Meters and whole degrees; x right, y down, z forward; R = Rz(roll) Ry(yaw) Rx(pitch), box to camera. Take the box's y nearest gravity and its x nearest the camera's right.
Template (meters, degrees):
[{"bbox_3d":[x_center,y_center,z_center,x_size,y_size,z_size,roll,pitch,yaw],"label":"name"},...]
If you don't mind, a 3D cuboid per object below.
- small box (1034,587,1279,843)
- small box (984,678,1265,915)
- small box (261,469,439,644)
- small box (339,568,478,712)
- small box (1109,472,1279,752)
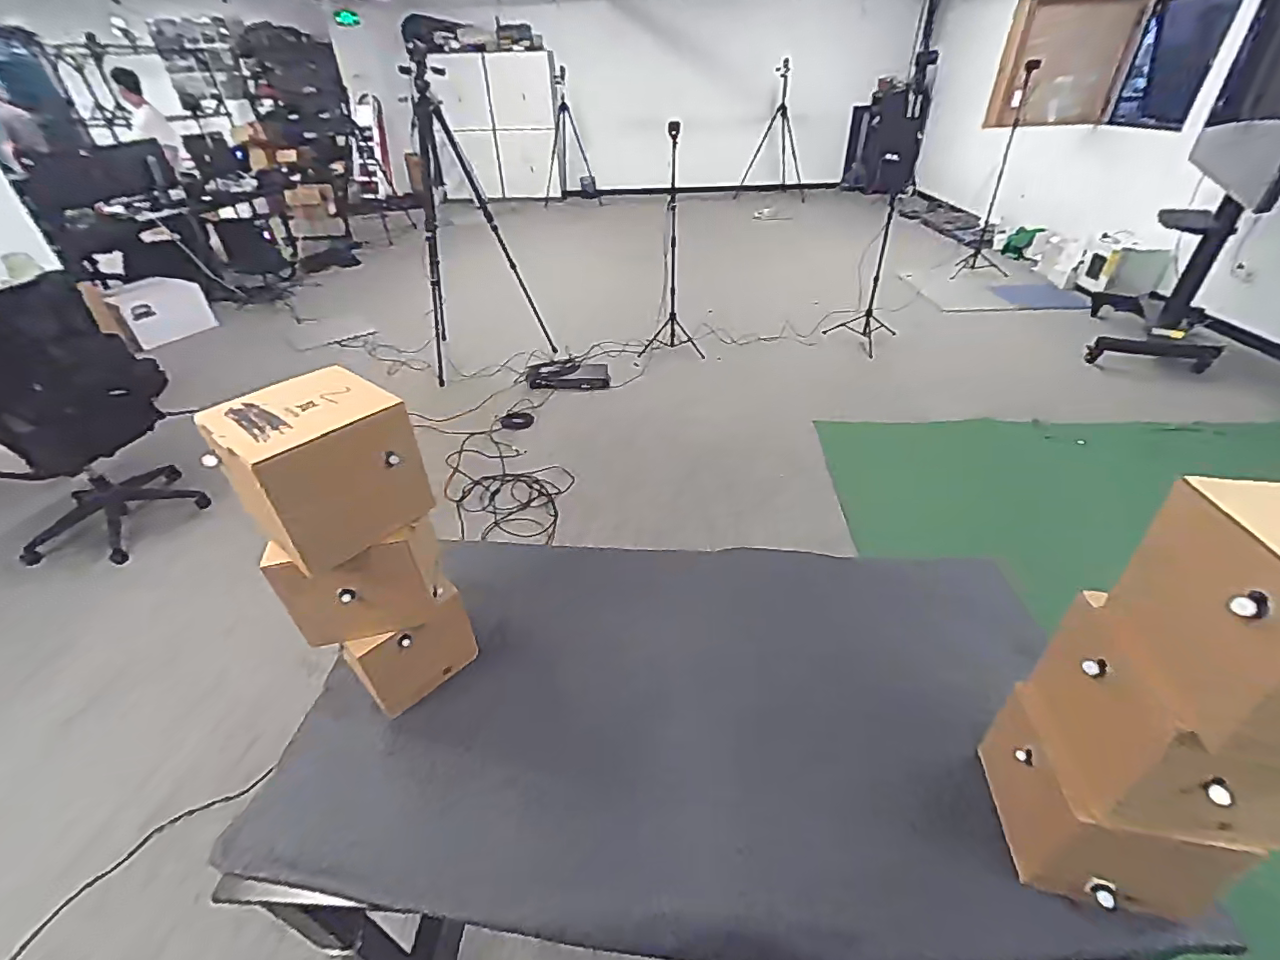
[{"bbox_3d":[0.555,0.238,0.560,0.168,0.176,0.179,3,33,10],"label":"small box"},{"bbox_3d":[0.547,0.373,0.650,0.168,0.176,0.179,4,35,11],"label":"small box"},{"bbox_3d":[-0.400,0.110,0.787,0.179,0.176,0.168,-11,38,-11],"label":"small box"},{"bbox_3d":[-0.395,0.239,0.890,0.179,0.176,0.168,29,47,34],"label":"small box"},{"bbox_3d":[0.554,0.113,0.449,0.168,0.176,0.179,4,33,10],"label":"small box"}]
